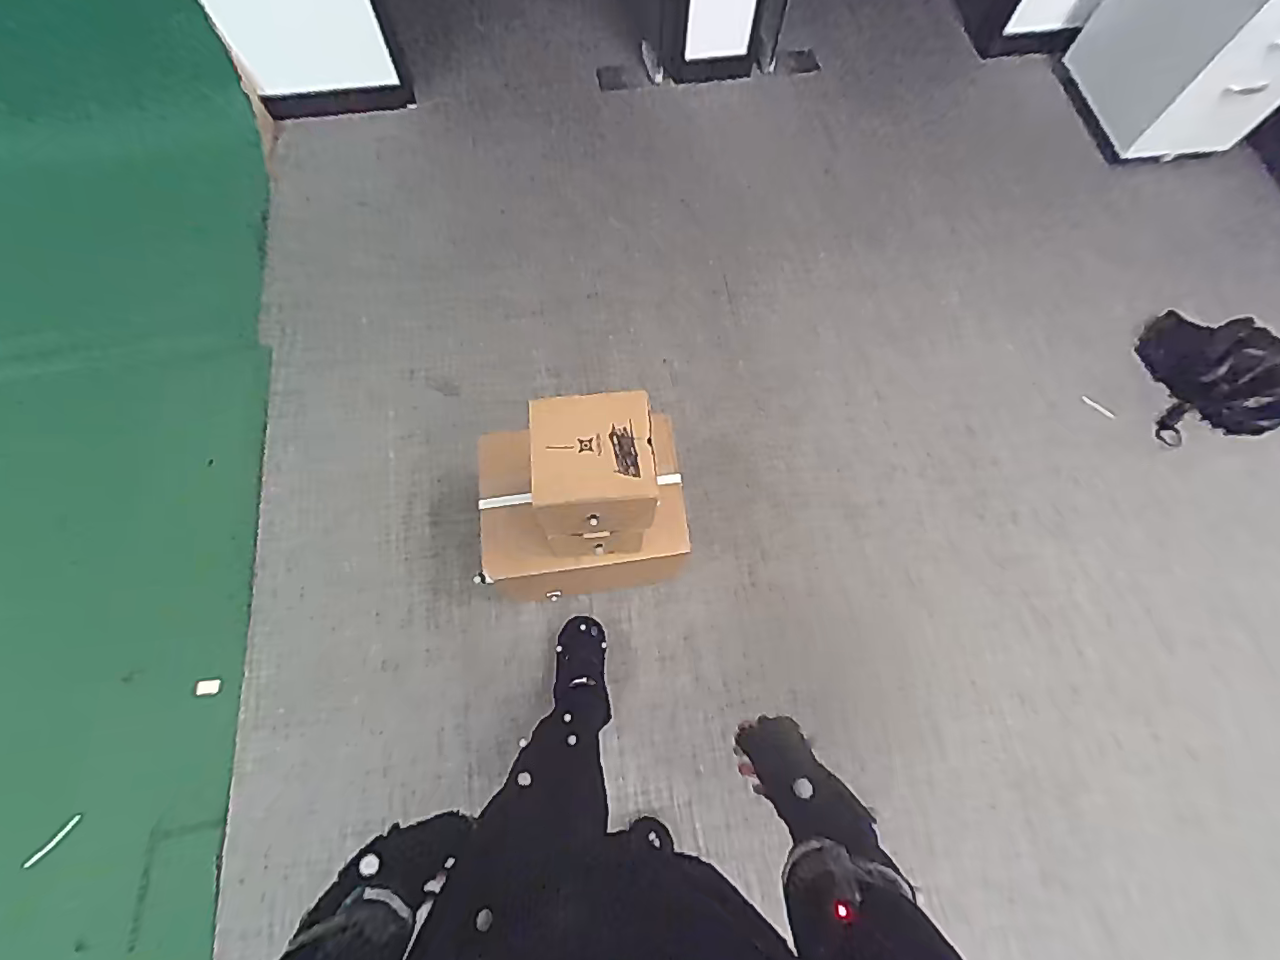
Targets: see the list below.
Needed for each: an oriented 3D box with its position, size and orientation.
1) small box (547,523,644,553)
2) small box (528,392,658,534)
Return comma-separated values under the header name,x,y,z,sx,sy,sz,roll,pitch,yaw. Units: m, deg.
name,x,y,z,sx,sy,sz,roll,pitch,yaw
small box,-0.079,0.034,0.994,0.168,0.176,0.179,-5,71,-3
small box,-0.070,-0.020,0.838,0.179,0.176,0.168,-6,70,-2
